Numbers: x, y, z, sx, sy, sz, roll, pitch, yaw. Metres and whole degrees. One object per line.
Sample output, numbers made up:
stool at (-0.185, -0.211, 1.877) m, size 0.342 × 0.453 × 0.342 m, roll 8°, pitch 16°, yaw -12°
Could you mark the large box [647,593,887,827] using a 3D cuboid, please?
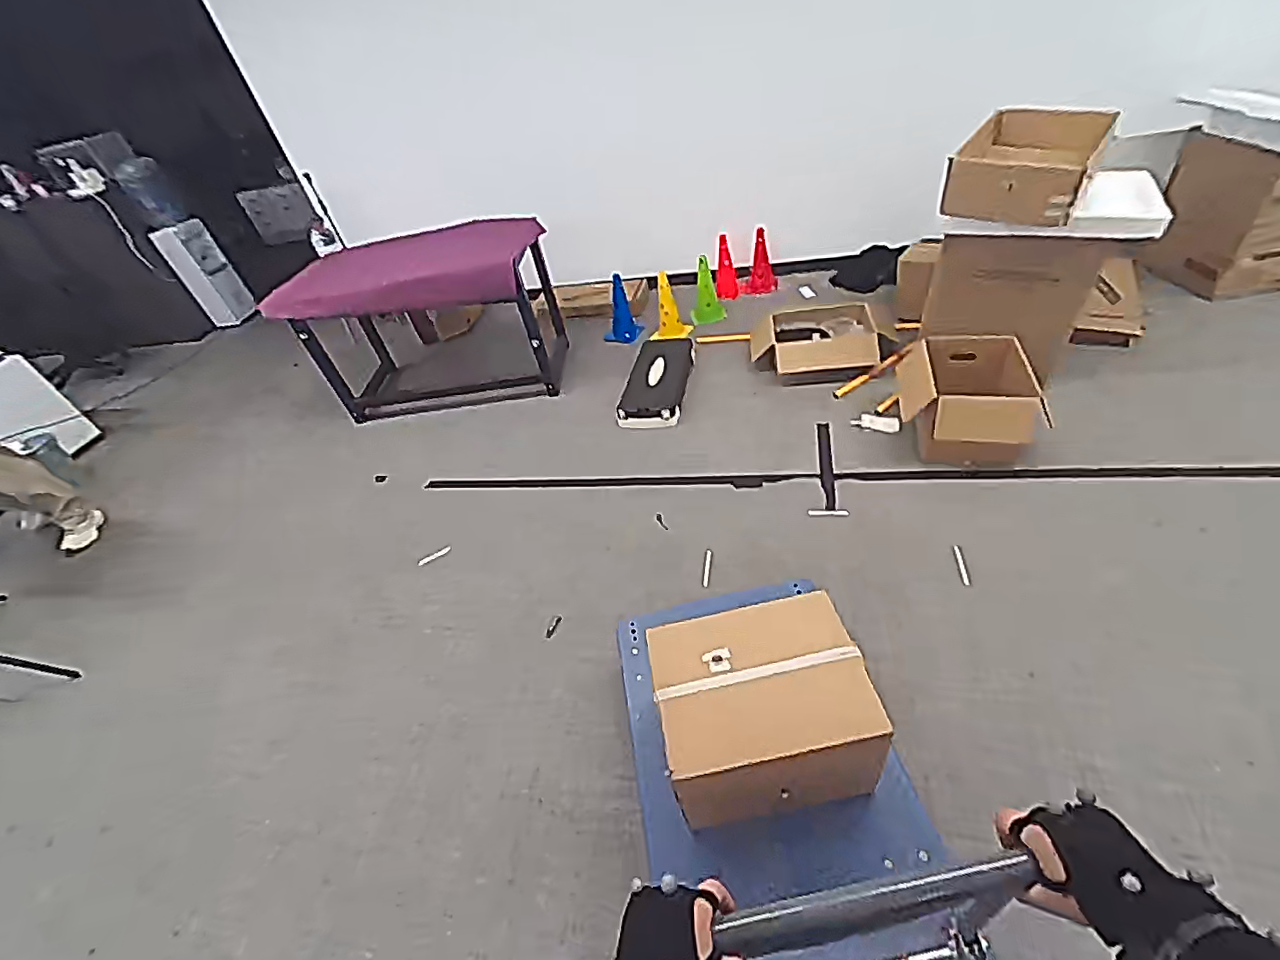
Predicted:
large box at (0.258, 0.502, 1.177) m, size 0.408 × 0.320 × 0.320 m, roll -14°, pitch 41°, yaw 1°
